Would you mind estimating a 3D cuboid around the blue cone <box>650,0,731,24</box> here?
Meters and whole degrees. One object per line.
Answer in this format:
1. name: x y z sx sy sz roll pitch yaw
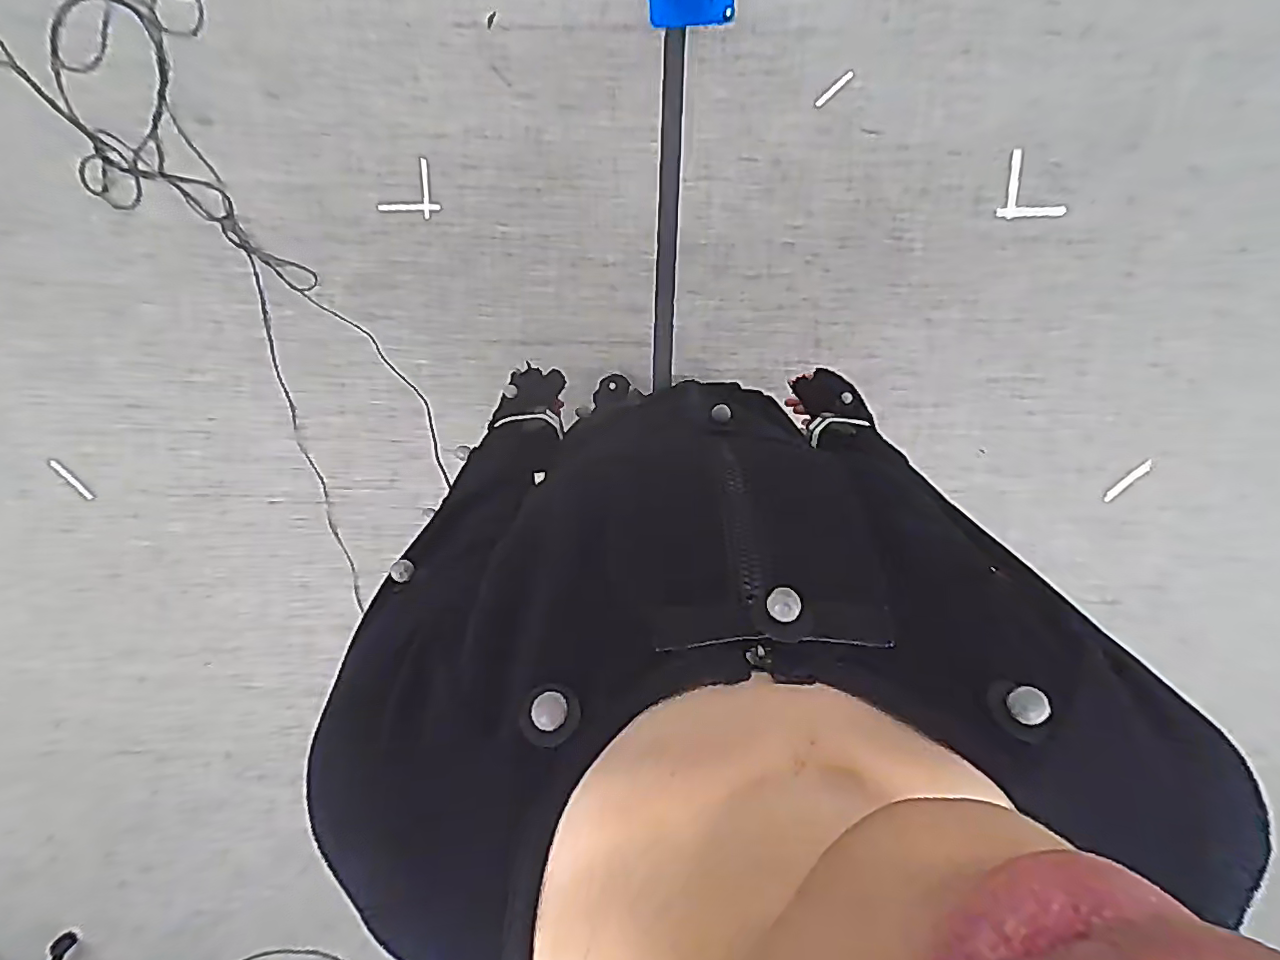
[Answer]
1. blue cone: 0.120 -1.126 1.086 0.192 0.380 0.193 -3 102 -1
